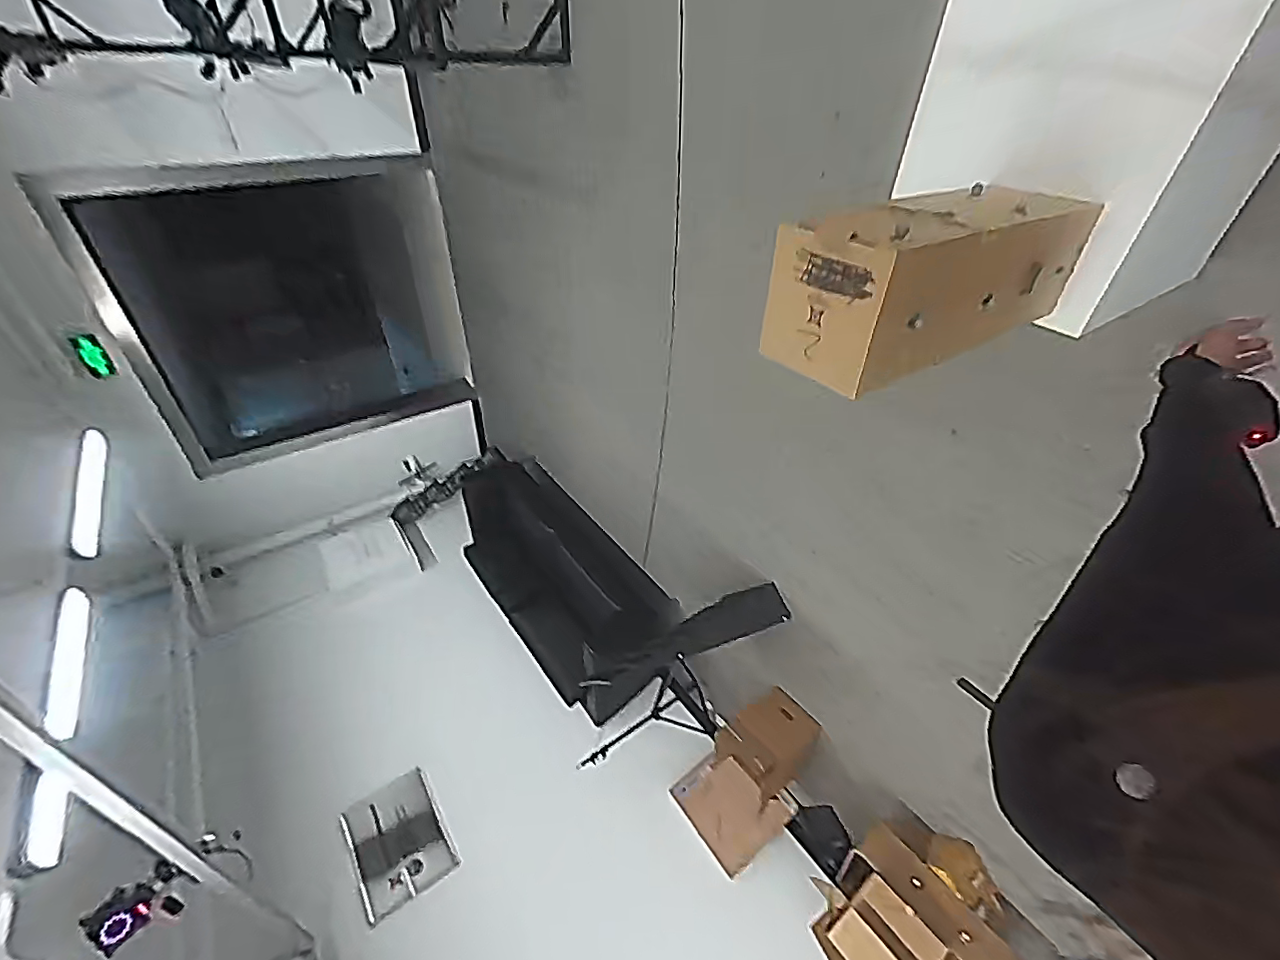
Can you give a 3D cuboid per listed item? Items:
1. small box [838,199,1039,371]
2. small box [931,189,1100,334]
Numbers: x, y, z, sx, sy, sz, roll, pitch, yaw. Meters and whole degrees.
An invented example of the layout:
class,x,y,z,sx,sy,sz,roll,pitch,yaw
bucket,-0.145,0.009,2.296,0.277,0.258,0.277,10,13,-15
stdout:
class,x,y,z,sx,sy,sz,roll,pitch,yaw
small box,0.420,-0.285,0.769,0.168,0.176,0.179,44,146,40
small box,0.552,-0.346,0.845,0.179,0.176,0.168,43,145,40
